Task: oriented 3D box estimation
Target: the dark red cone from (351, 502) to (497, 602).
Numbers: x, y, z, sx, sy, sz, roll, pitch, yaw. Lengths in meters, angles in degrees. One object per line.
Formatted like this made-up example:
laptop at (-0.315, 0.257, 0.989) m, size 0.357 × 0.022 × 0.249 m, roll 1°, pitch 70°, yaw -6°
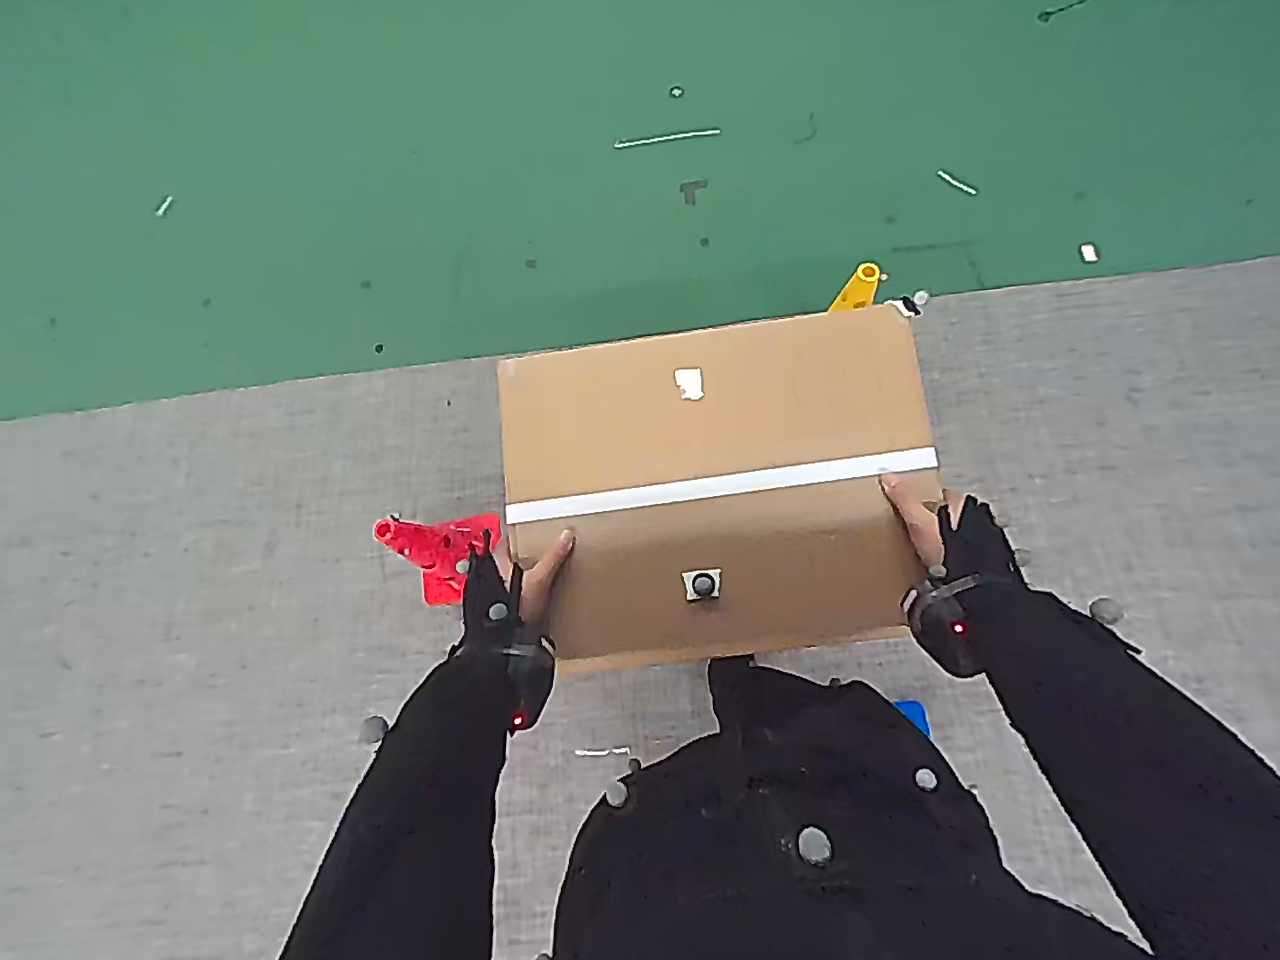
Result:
dark red cone at (-0.458, 0.120, 1.125) m, size 0.202 × 0.394 × 0.201 m, roll -14°, pitch 70°, yaw 3°
